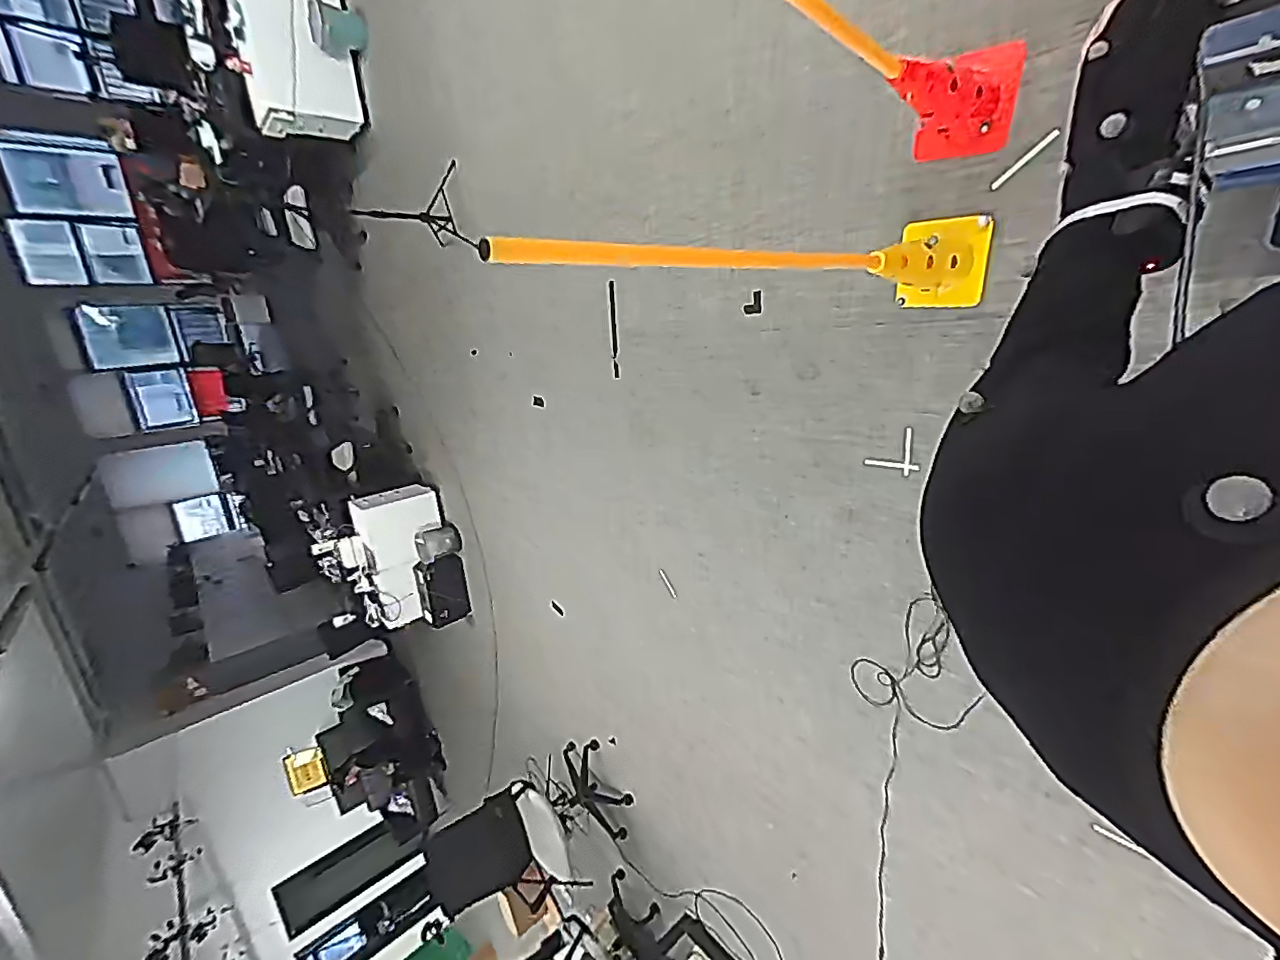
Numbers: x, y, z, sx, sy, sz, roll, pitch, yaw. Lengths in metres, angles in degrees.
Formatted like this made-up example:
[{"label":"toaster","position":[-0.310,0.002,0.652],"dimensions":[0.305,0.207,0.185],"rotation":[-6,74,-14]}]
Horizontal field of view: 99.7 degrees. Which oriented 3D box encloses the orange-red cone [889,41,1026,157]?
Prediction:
[{"label":"orange-red cone","position":[0.598,-0.799,1.093],"dimensions":[0.198,0.360,0.199],"rotation":[23,120,43]}]
